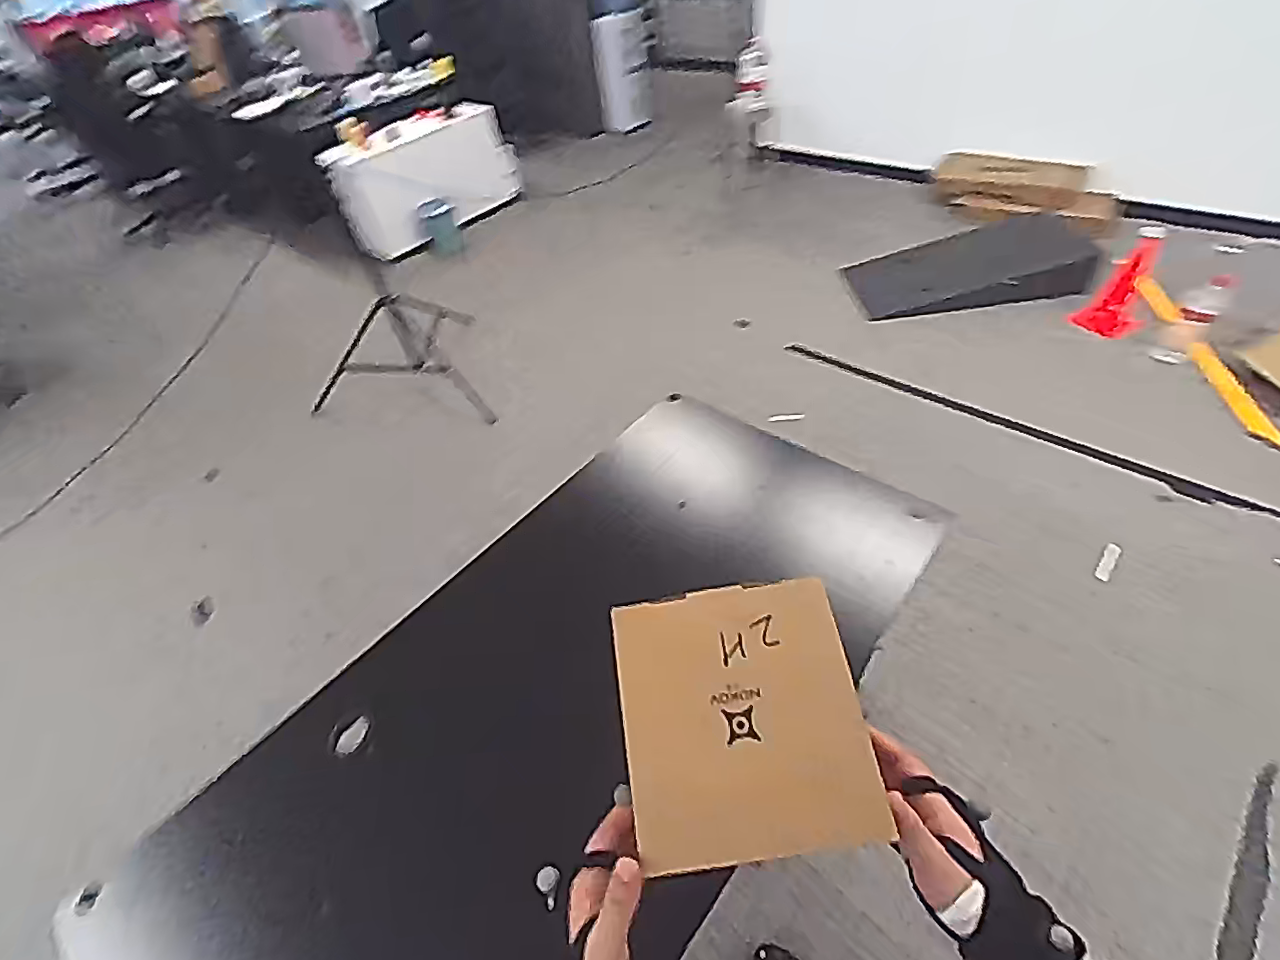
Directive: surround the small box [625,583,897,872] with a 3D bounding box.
[{"bbox_3d":[0.085,0.203,0.452,0.168,0.176,0.179,-8,61,3],"label":"small box"}]
